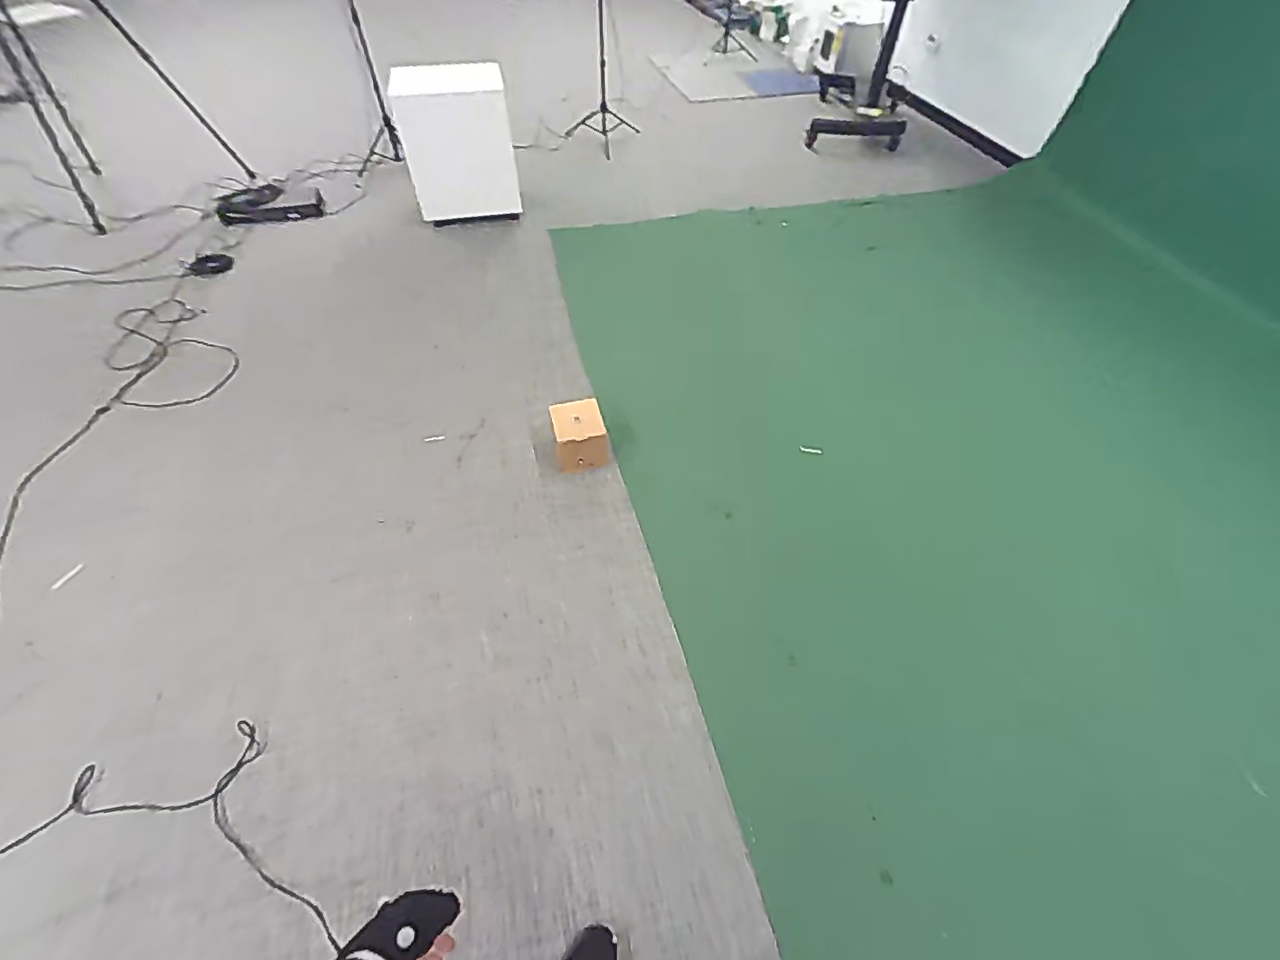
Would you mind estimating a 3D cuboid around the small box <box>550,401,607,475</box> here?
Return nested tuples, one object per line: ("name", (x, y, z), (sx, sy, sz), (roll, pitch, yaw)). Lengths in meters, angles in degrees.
("small box", (-0.212, -0.144, 1.875), (0.168, 0.176, 0.179), (-12, 53, -11))
